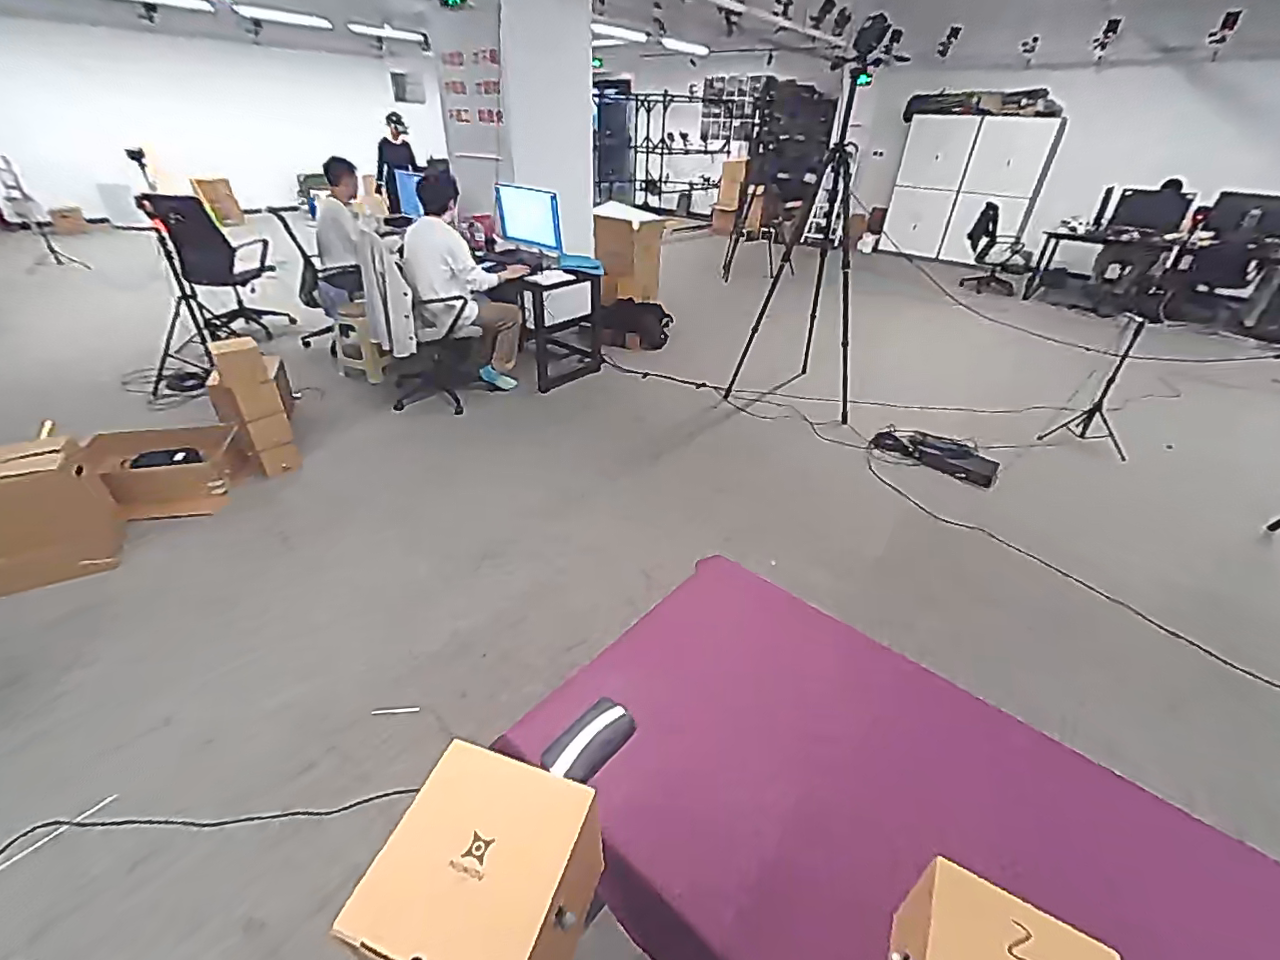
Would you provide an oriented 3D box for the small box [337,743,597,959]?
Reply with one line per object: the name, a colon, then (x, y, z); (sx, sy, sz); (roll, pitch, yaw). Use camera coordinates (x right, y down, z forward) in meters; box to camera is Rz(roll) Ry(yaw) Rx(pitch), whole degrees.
small box: (-0.149, 0.408, 0.535); (0.168, 0.176, 0.179); (11, 37, 16)
